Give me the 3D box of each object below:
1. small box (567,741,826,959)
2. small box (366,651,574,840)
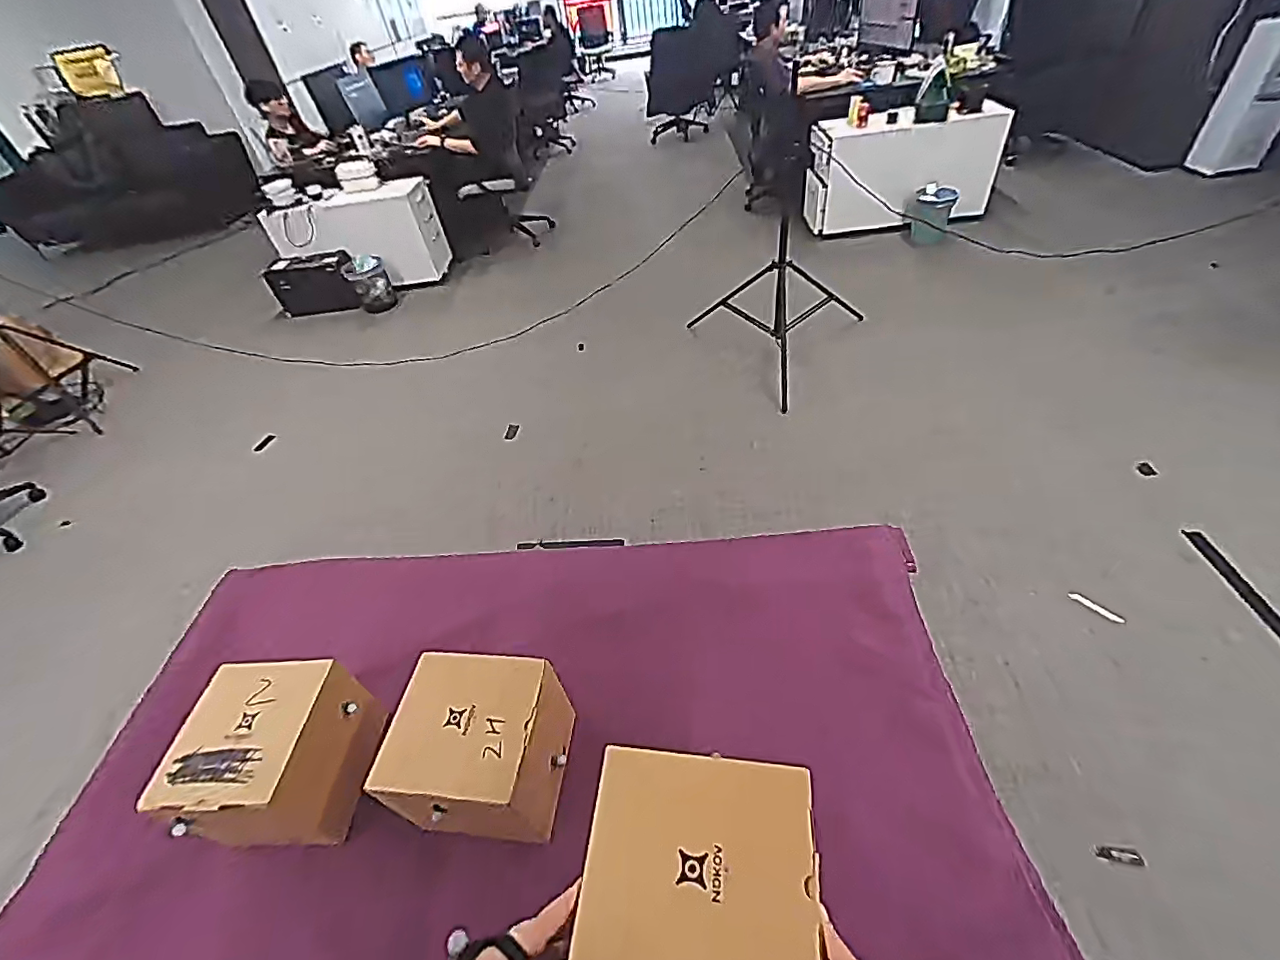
[{"bbox_3d":[0.053,0.347,0.459,0.179,0.176,0.168,2,42,9],"label":"small box"},{"bbox_3d":[-0.199,0.339,0.690,0.179,0.176,0.168,0,45,10],"label":"small box"}]
